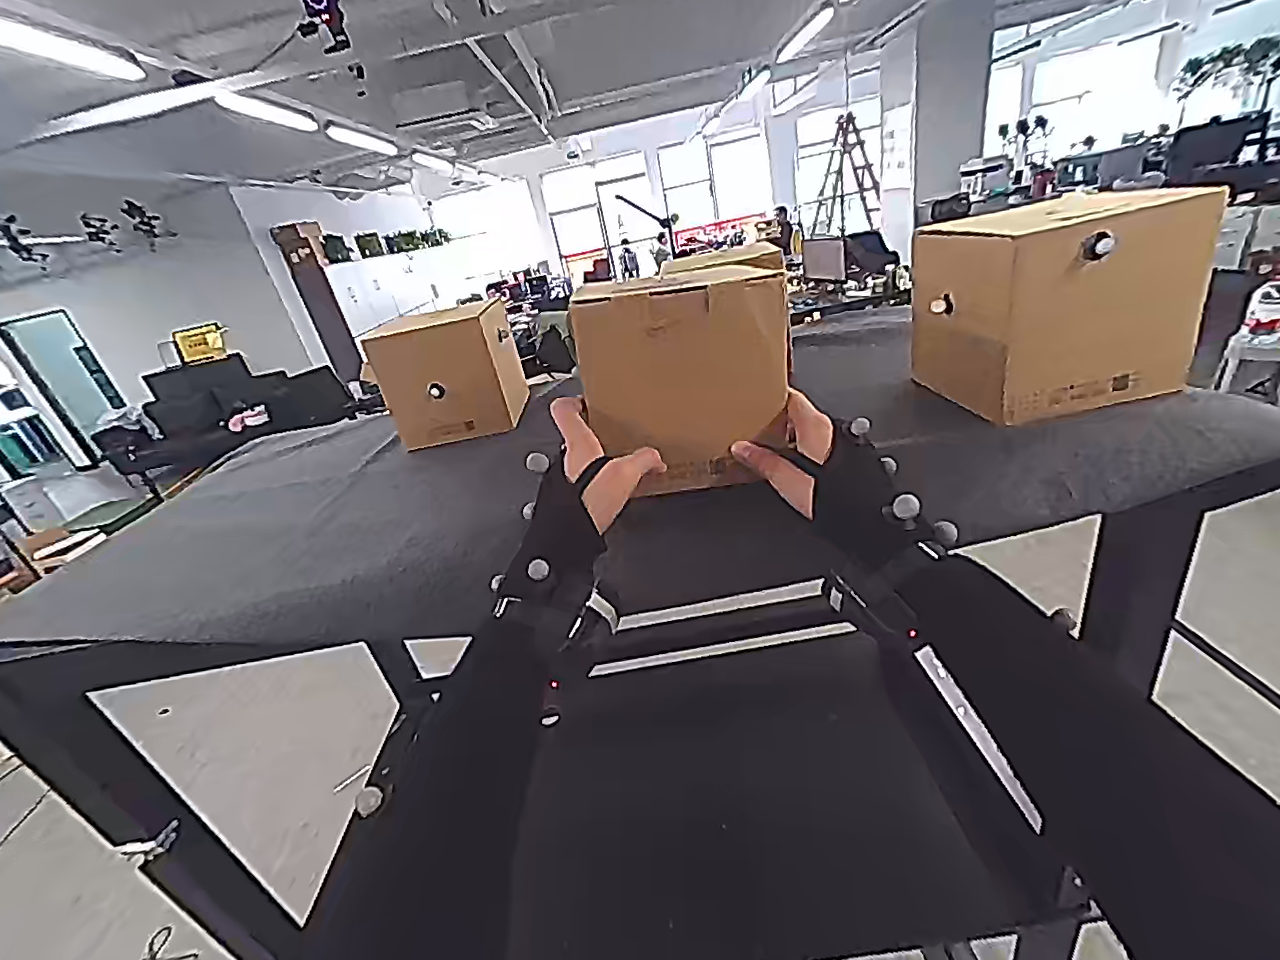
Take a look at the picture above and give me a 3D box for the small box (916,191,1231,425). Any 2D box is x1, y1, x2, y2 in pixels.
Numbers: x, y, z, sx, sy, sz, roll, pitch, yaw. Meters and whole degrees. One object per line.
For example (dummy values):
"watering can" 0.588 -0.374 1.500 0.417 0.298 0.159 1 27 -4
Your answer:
"small box" 0.389 -0.167 0.529 0.168 0.176 0.179 -12 25 3

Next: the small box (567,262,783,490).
"small box" 0.032 -0.098 0.504 0.168 0.176 0.179 -7 25 0

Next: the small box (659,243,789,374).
"small box" 0.124 -0.244 0.810 0.168 0.176 0.179 -8 26 8

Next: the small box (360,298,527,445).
"small box" -0.280 -0.162 0.821 0.168 0.176 0.179 -11 26 2
